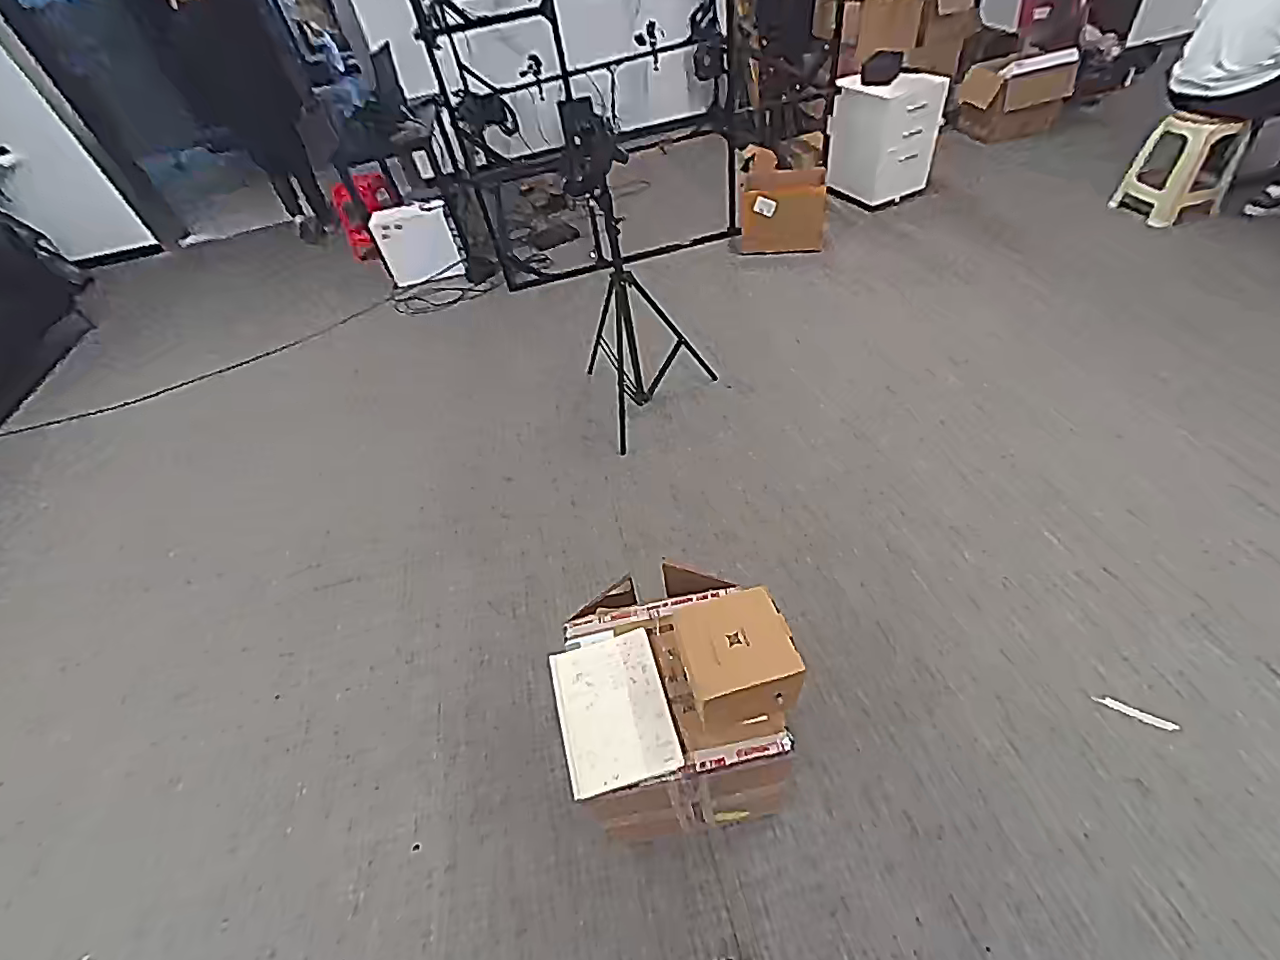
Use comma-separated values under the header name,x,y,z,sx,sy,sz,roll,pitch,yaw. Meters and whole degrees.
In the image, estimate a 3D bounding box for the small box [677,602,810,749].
name,x,y,z,sx,sy,sz,roll,pitch,yaw
small box,0.173,0.346,0.954,0.179,0.176,0.168,-16,48,-5
